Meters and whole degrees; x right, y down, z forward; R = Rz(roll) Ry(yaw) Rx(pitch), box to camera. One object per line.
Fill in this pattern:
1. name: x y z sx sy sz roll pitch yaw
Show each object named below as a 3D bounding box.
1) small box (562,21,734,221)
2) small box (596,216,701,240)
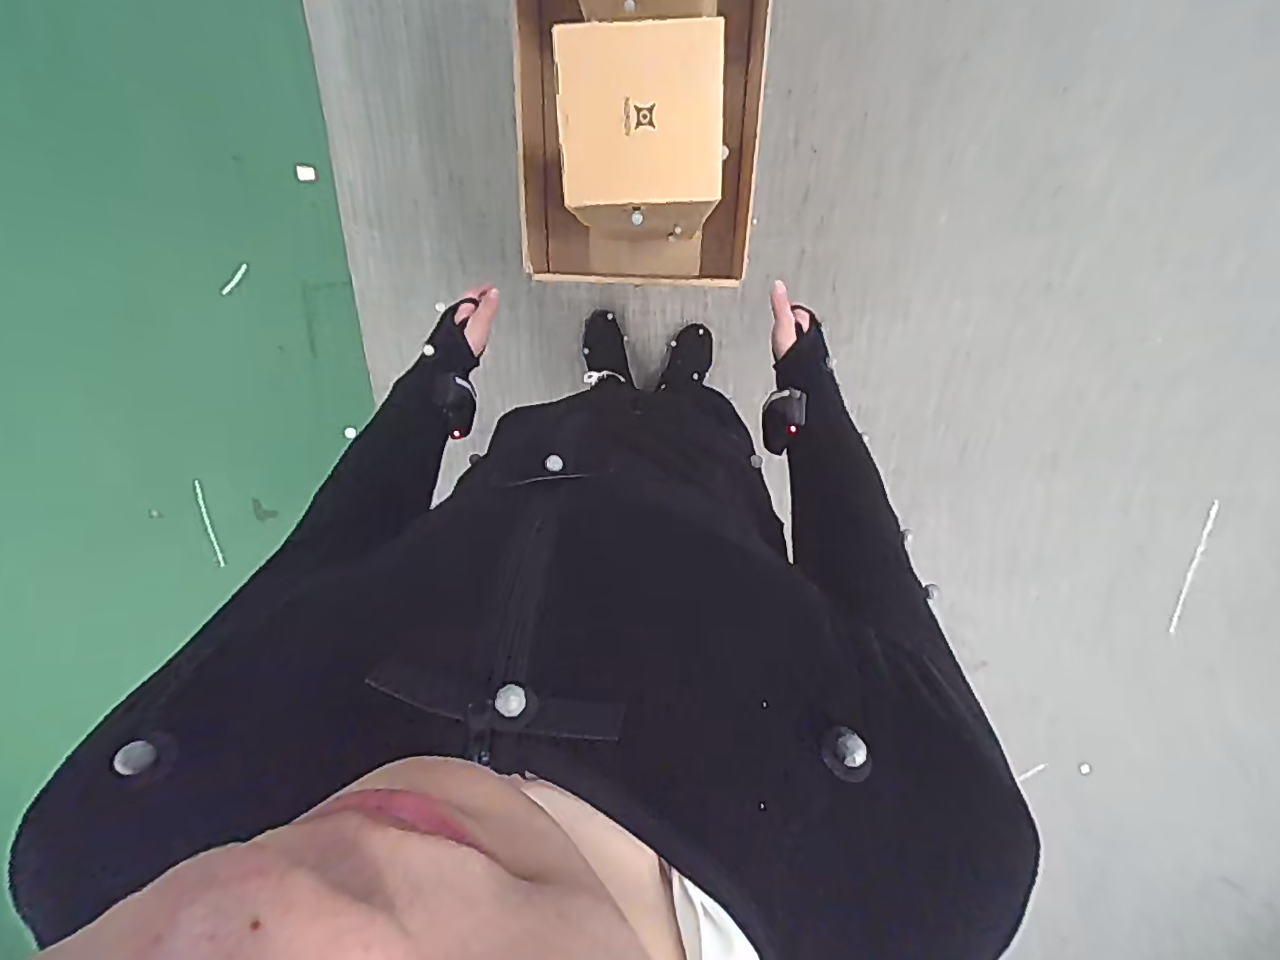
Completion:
1. small box: 0.011 -0.408 0.642 0.179 0.176 0.168 -1 110 2
2. small box: 0.016 -0.520 0.949 0.179 0.176 0.168 1 109 1
